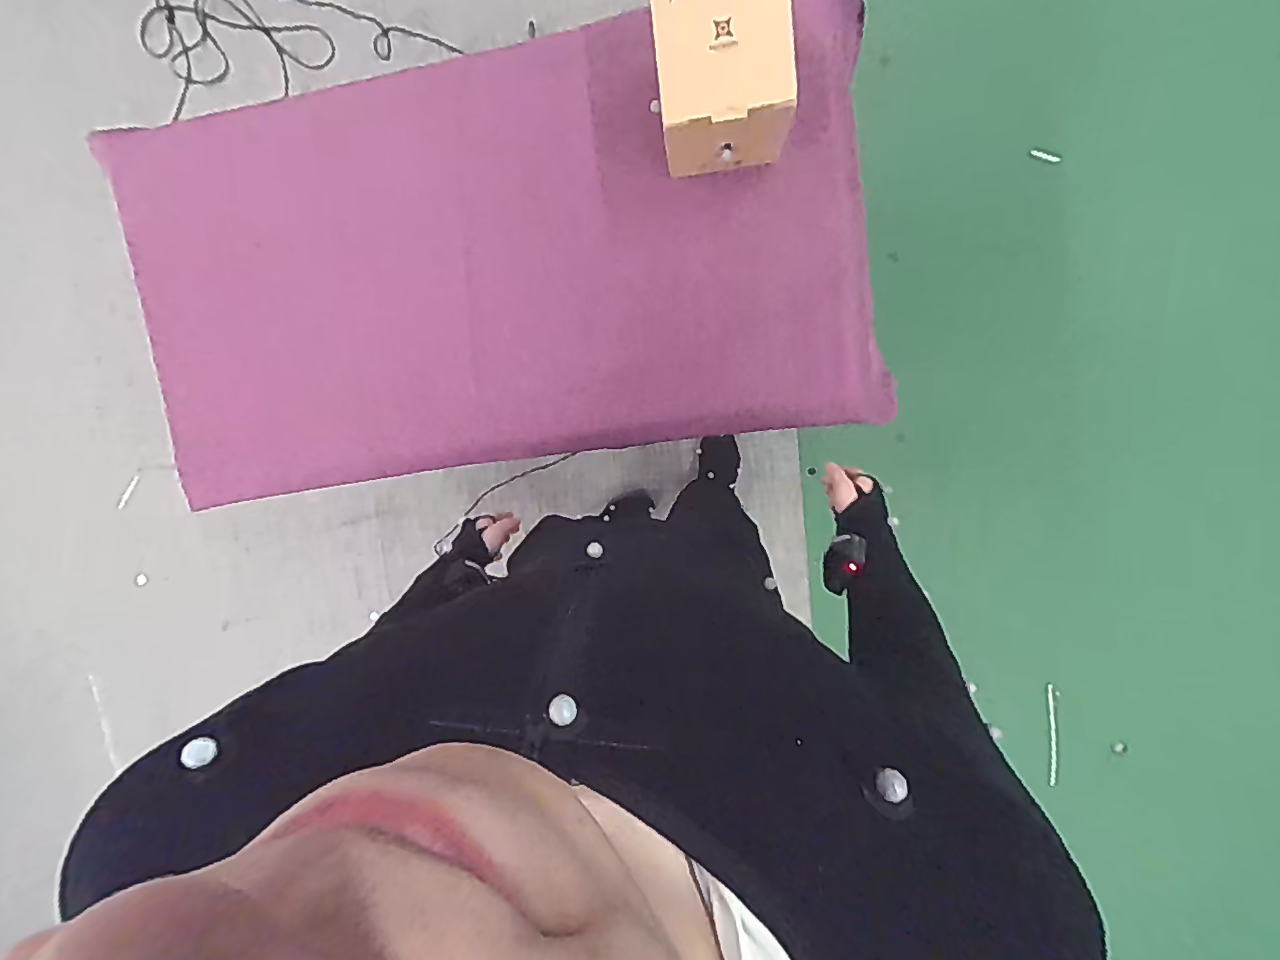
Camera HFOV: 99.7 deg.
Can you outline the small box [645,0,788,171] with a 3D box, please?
[{"bbox_3d":[0.102,-0.543,0.732,0.168,0.176,0.179,-5,99,6],"label":"small box"}]
